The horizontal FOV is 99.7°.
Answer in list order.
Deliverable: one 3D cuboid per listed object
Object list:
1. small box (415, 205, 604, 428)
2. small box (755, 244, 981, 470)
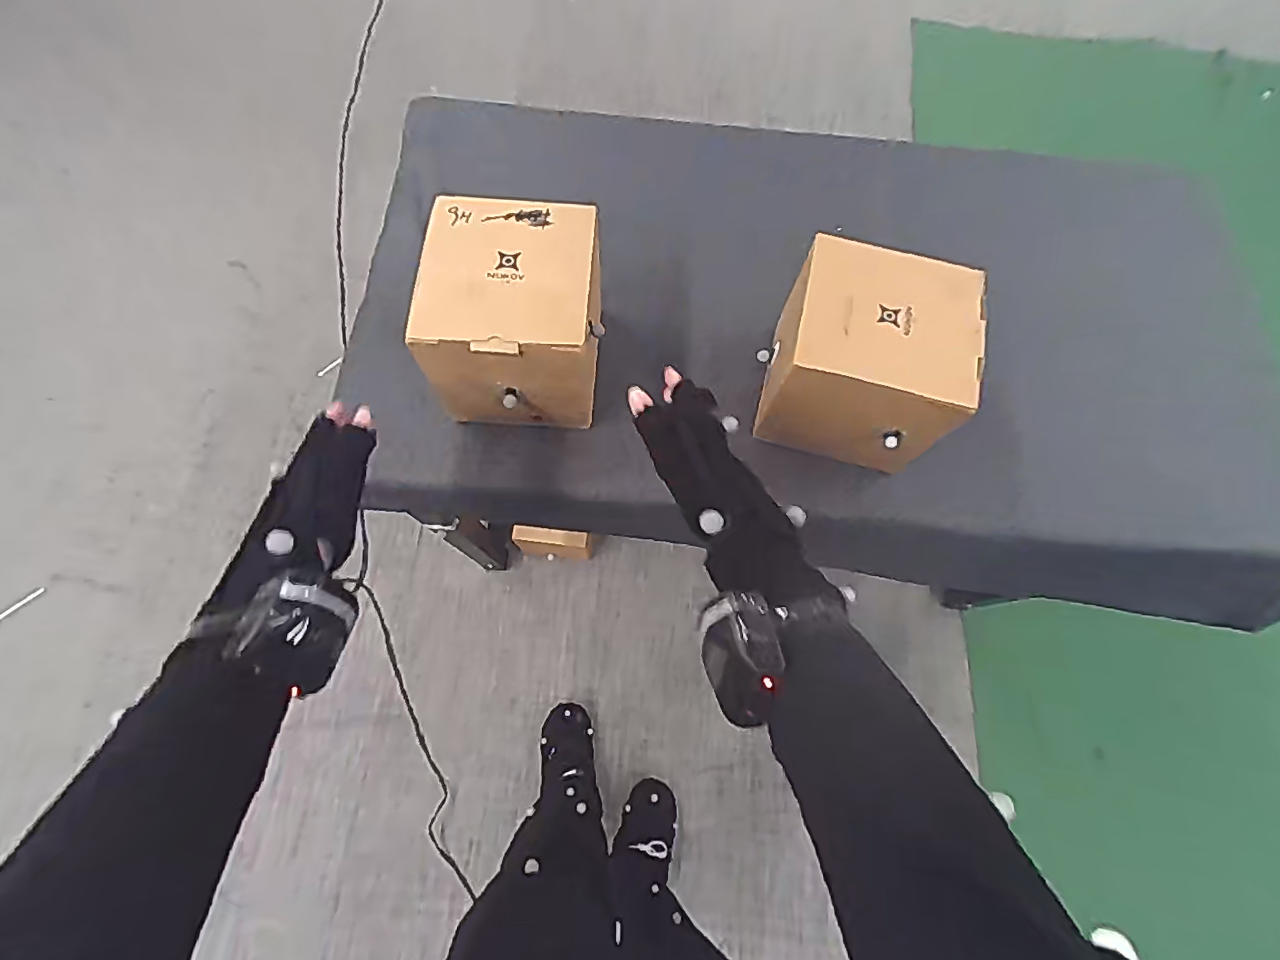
[{"bbox_3d":[-0.127,-0.169,0.602,0.168,0.176,0.179,3,70,-2],"label":"small box"},{"bbox_3d":[0.244,-0.125,0.606,0.179,0.176,0.168,13,69,3],"label":"small box"}]
